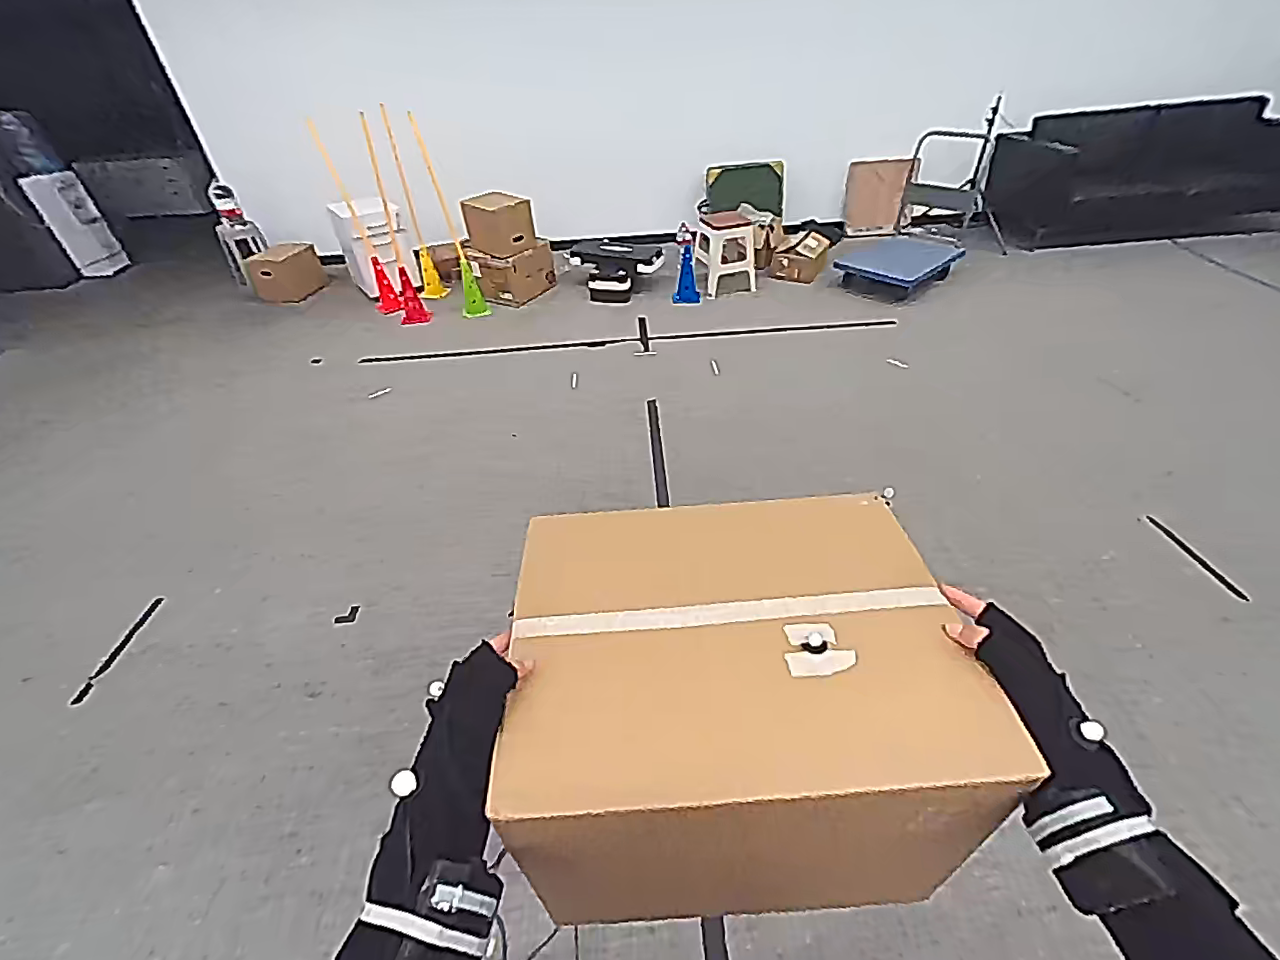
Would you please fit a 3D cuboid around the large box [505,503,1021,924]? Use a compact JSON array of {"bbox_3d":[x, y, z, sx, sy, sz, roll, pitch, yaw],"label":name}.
[{"bbox_3d":[0.092,0.254,0.612,0.408,0.320,0.320,-4,39,-1],"label":"large box"}]
